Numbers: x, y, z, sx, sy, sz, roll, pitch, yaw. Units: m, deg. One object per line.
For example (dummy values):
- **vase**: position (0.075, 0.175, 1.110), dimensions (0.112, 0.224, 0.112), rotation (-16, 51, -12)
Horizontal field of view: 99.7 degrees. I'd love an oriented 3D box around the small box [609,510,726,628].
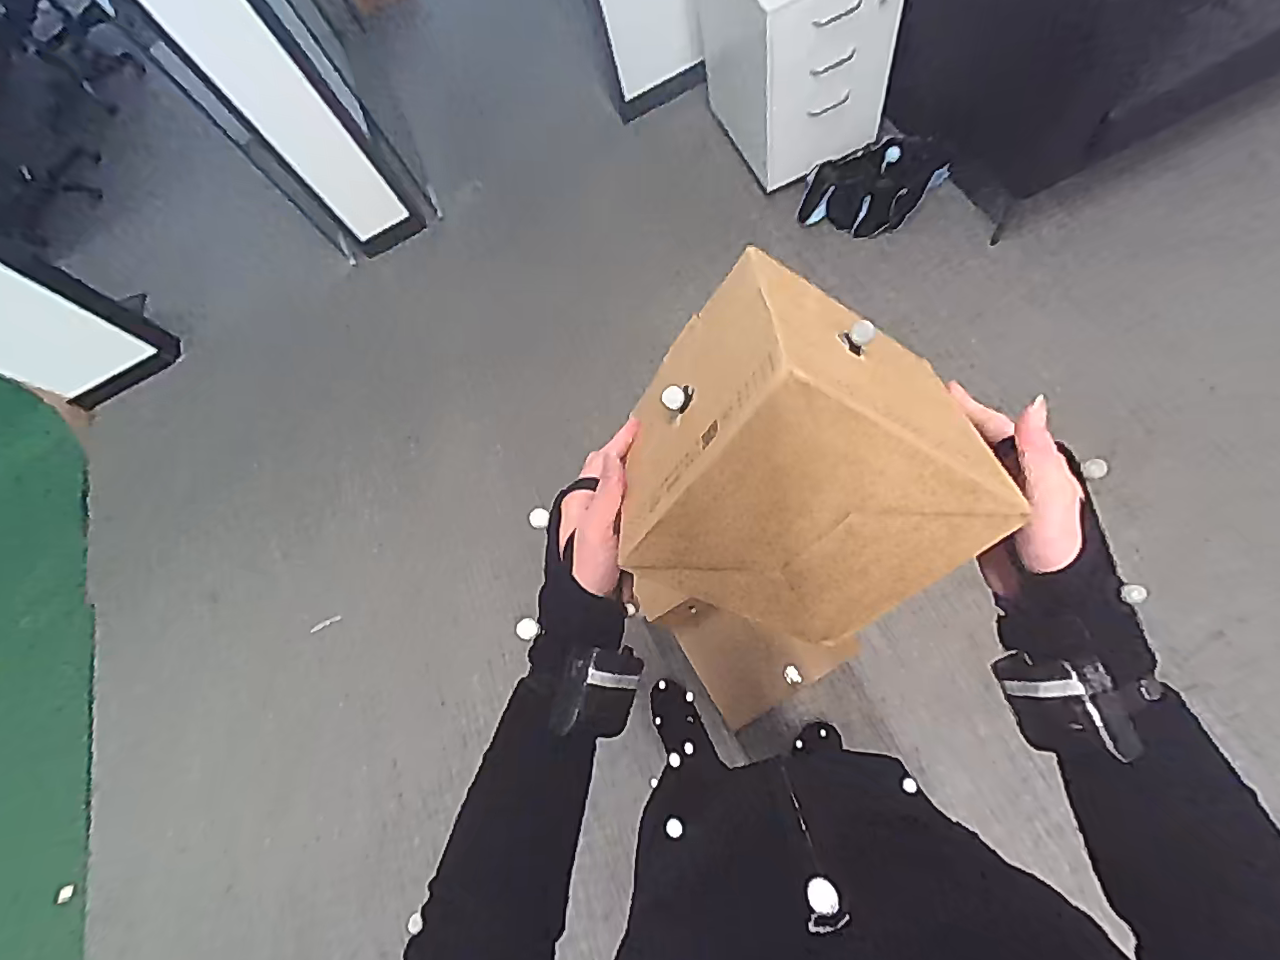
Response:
- **small box**: position (0.065, 0.189, 1.116), dimensions (0.179, 0.176, 0.168), rotation (-30, 65, 4)
